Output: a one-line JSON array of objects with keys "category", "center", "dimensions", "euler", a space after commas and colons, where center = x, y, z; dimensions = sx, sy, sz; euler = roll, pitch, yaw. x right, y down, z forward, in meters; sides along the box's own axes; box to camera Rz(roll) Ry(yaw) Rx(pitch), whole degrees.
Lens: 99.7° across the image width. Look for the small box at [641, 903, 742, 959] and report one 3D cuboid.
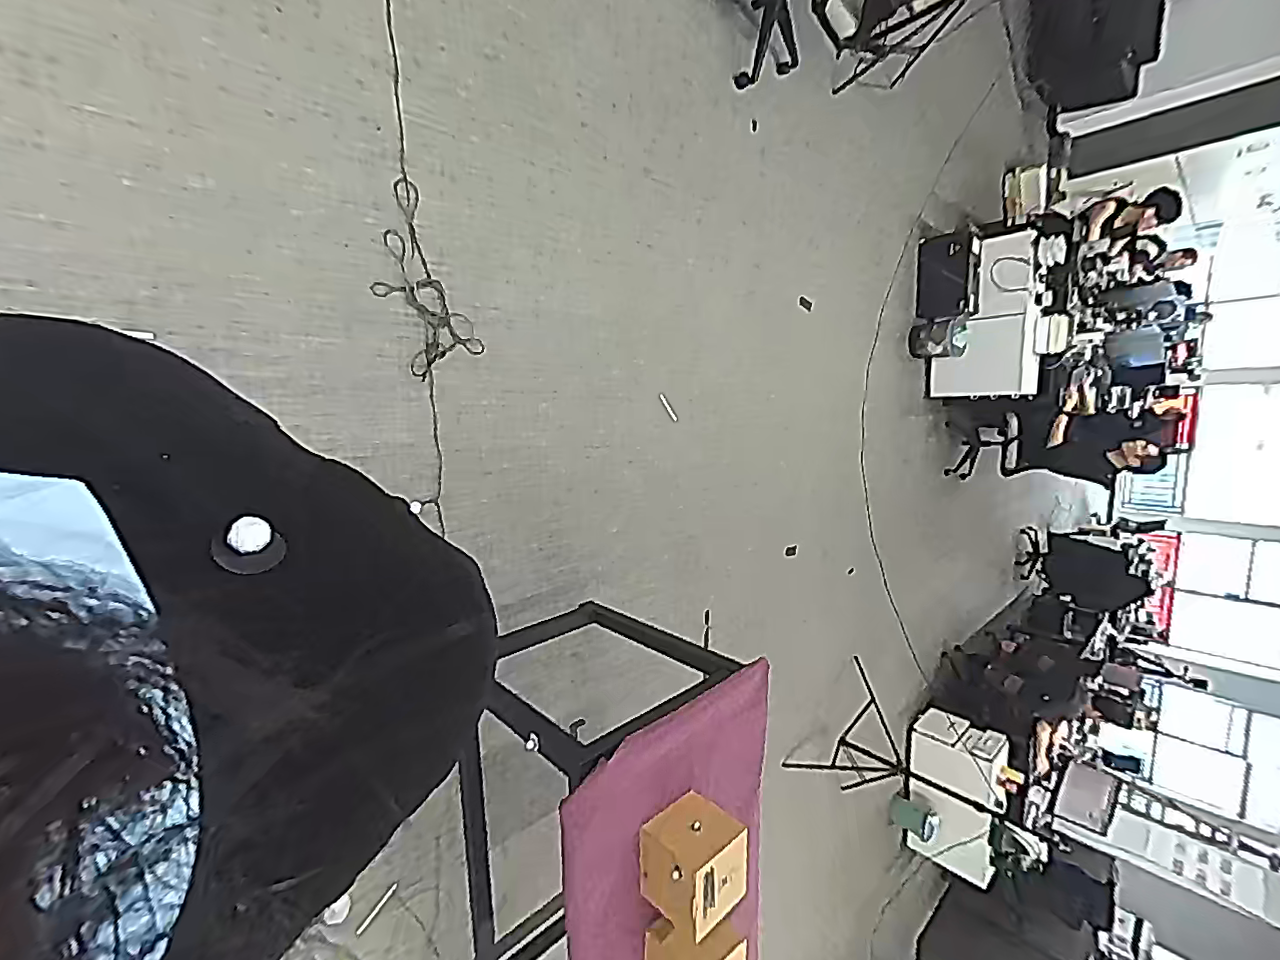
[{"category": "small box", "center": [0.111, 1.120, 1.235], "dimensions": [0.168, 0.176, 0.179], "euler": [2, 94, -43]}]
